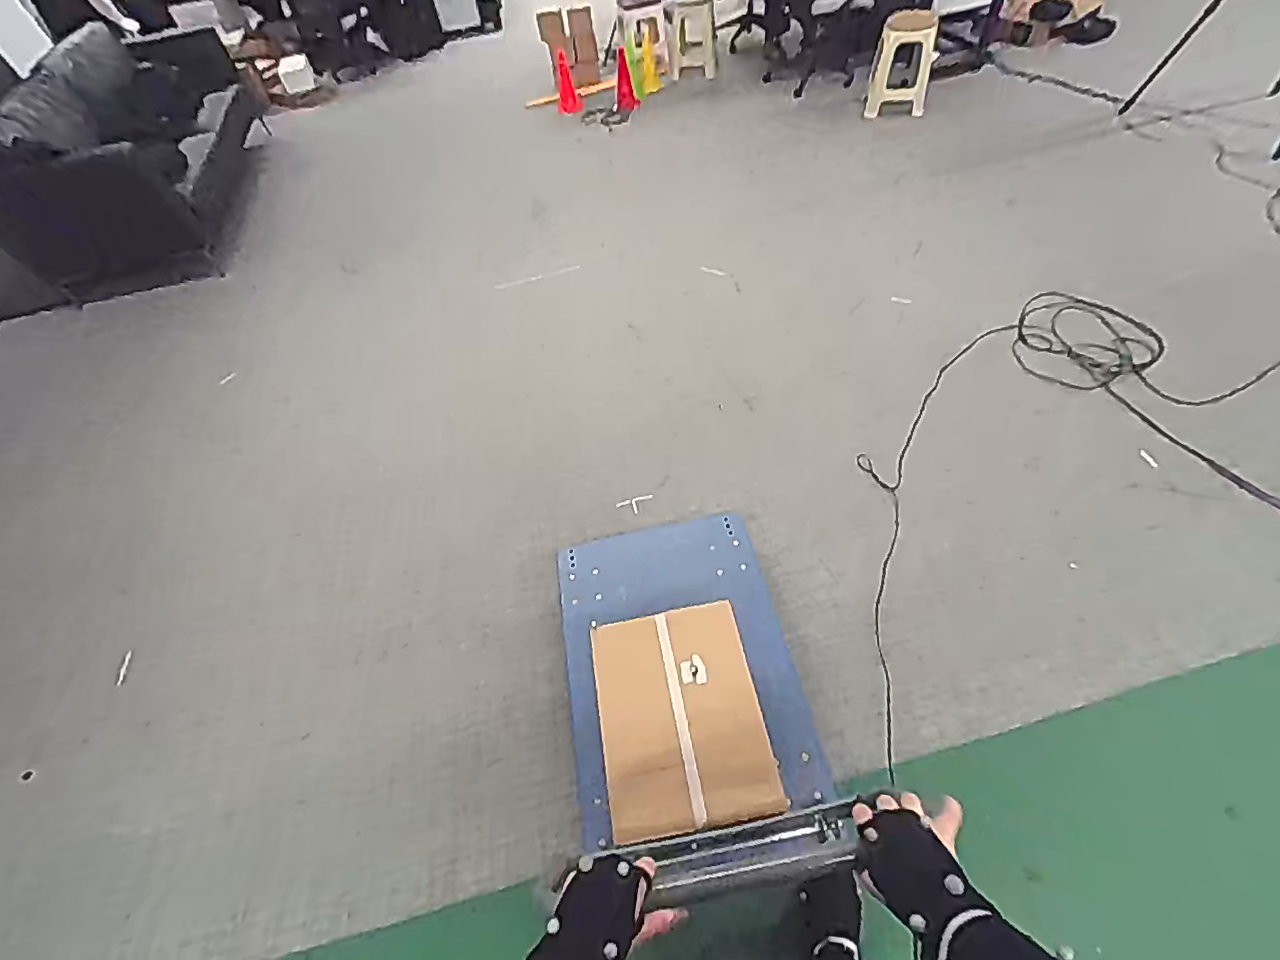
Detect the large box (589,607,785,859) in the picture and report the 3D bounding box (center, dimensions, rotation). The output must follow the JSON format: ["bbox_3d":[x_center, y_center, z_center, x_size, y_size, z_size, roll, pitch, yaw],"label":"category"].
[{"bbox_3d":[0.089,0.550,1.180,0.320,0.320,0.408,-11,52,-2],"label":"large box"}]
